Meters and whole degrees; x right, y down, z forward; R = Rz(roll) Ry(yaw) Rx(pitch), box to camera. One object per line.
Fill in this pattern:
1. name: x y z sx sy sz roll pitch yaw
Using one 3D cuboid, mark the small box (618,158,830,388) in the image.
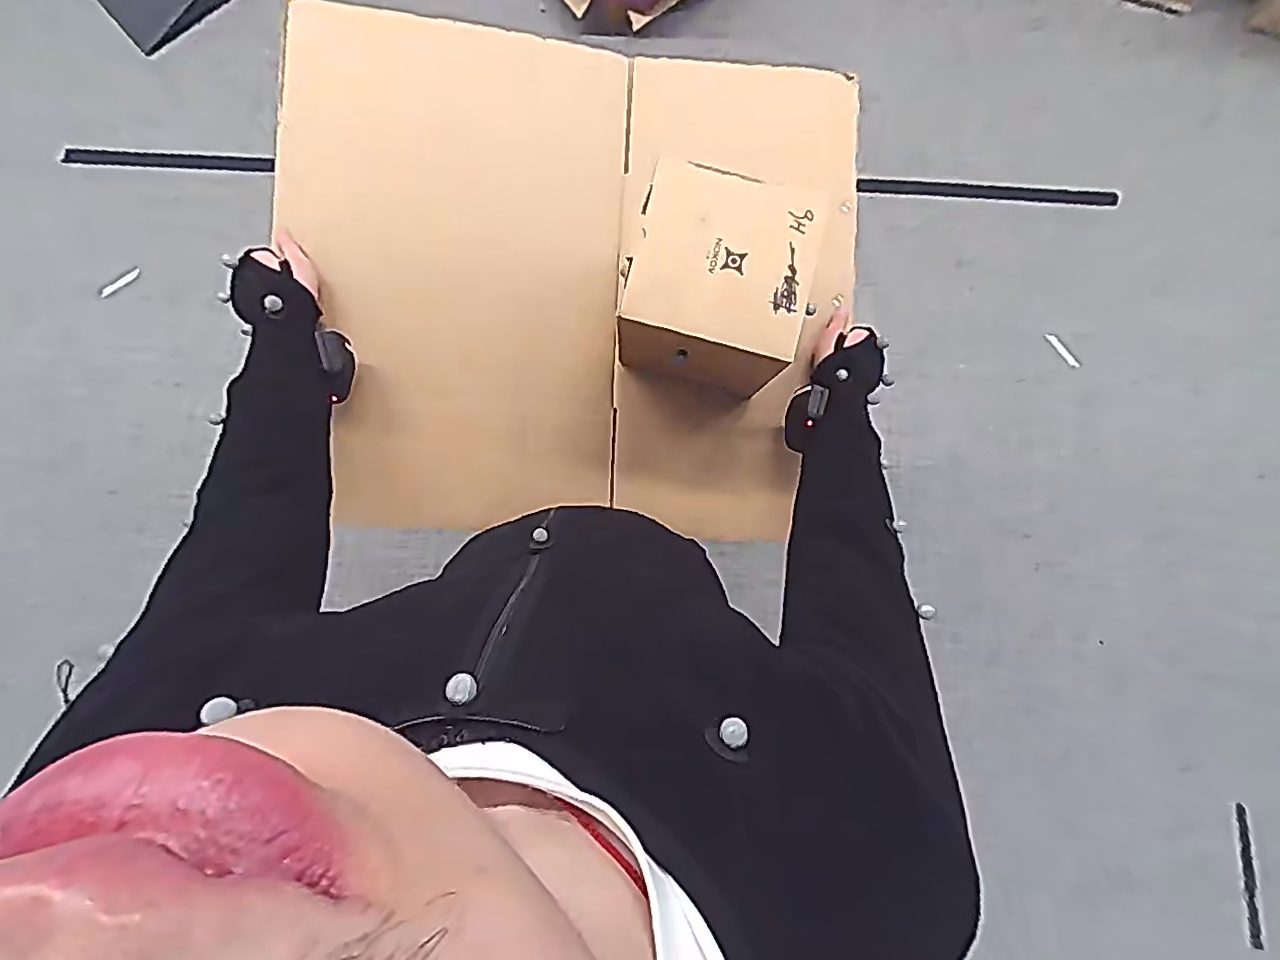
1. small box: 0.082 -0.212 0.603 0.179 0.176 0.168 15 87 0
